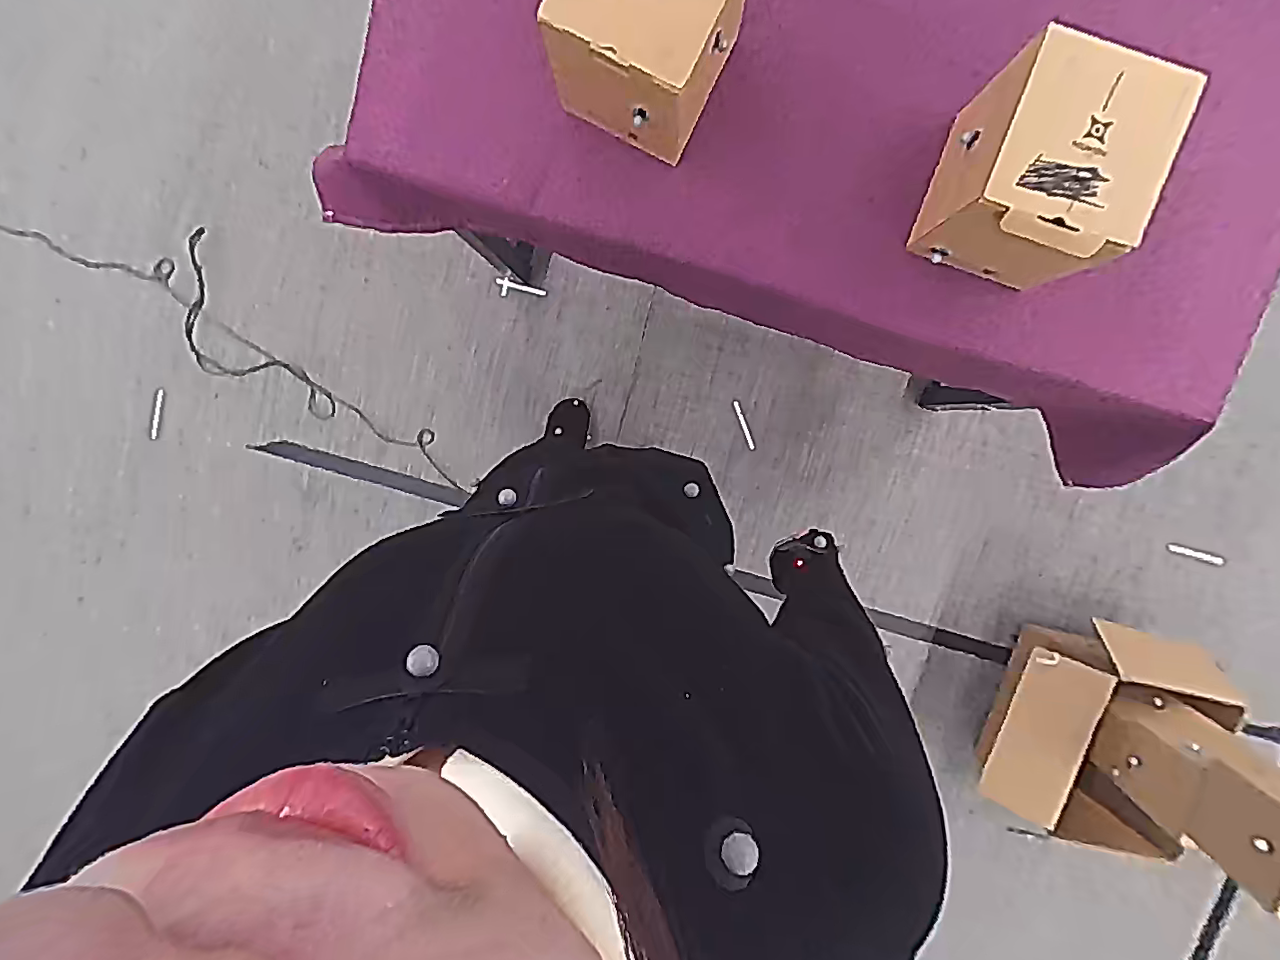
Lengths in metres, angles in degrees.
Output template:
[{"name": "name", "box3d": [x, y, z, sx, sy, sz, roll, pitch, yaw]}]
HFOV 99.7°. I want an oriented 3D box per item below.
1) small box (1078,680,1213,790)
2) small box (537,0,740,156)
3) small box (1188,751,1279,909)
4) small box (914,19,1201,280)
[{"name": "small box", "box3d": [1.163, 0.583, 1.258, 0.168, 0.176, 0.179, -5, 100, 6]}, {"name": "small box", "box3d": [0.009, -0.512, 0.609, 0.168, 0.176, 0.179, 27, 97, -2]}, {"name": "small box", "box3d": [1.117, 0.604, 0.931, 0.168, 0.176, 0.179, 9, 101, 5]}, {"name": "small box", "box3d": [0.444, -0.350, 0.613, 0.168, 0.176, 0.179, 19, 96, -1]}]
